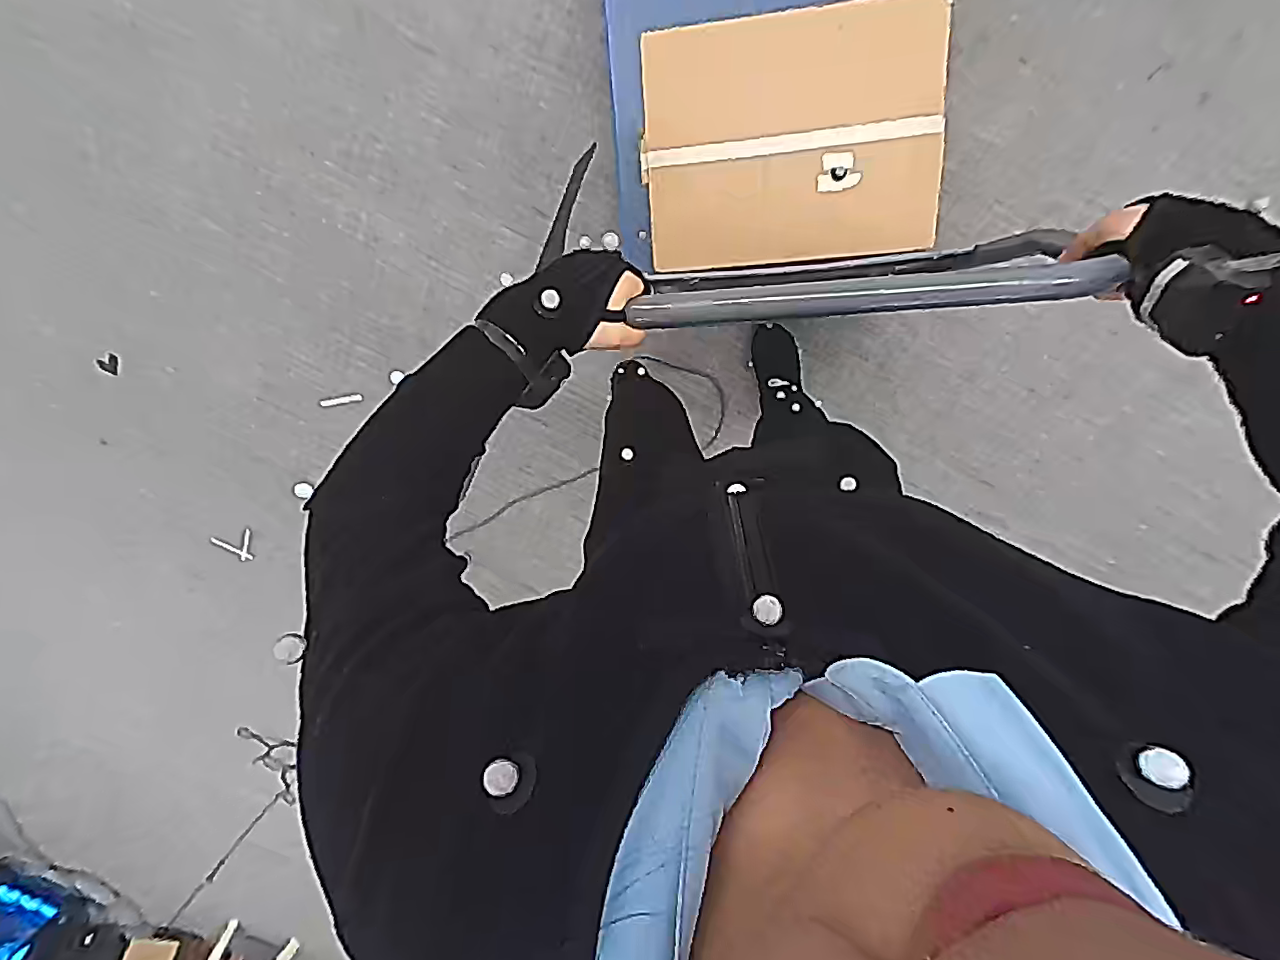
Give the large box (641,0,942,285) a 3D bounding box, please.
[{"bbox_3d":[0.224,-0.516,0.910,0.408,0.320,0.320,-2,107,8],"label":"large box"}]
